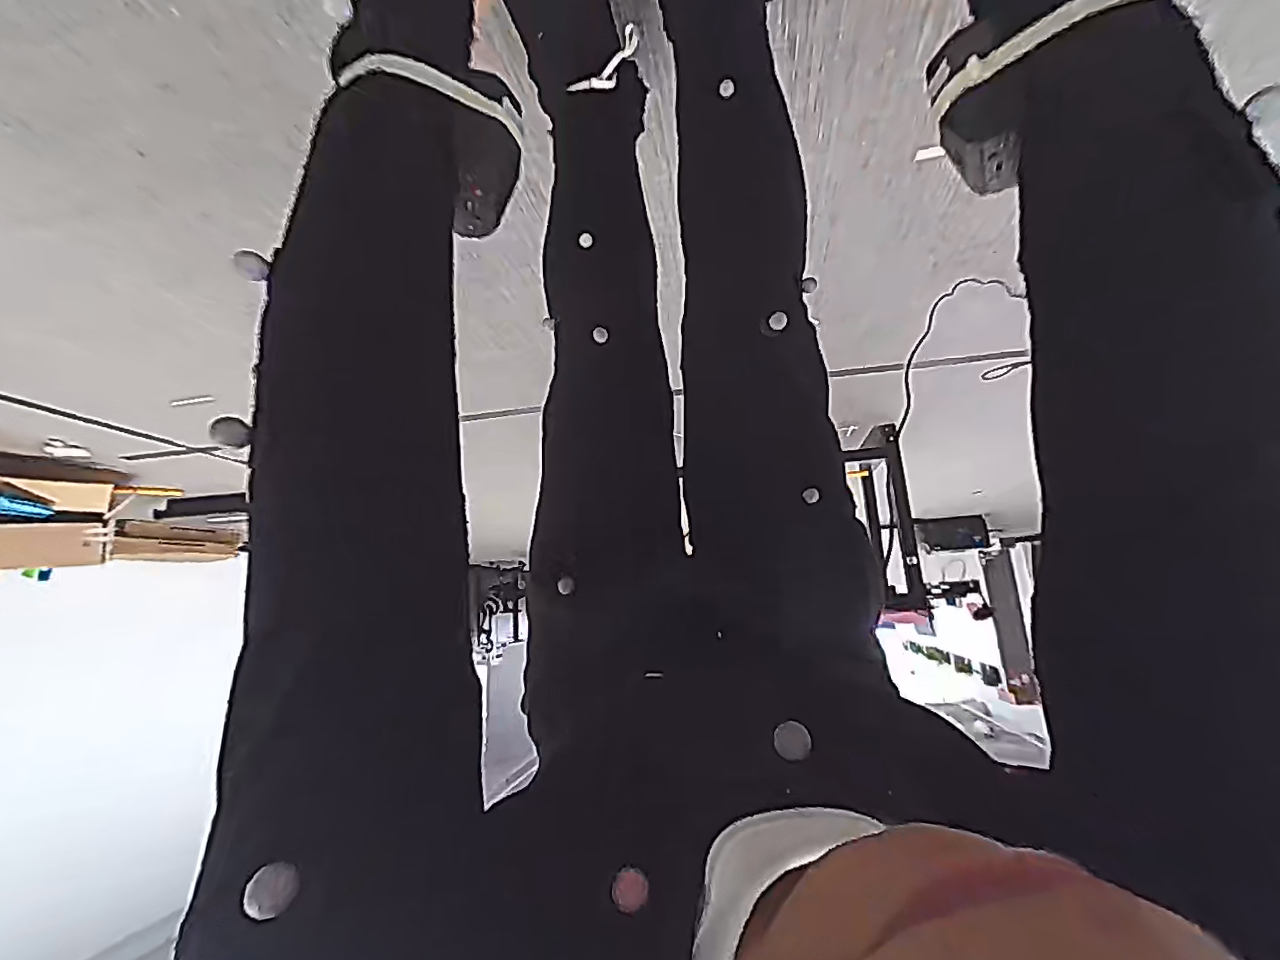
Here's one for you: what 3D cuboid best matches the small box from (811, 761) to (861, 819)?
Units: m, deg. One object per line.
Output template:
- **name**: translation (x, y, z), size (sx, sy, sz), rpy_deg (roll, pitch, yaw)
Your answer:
- **small box**: translation (0.810, 1.281, 2.243), size (0.168, 0.176, 0.179), rpy_deg (-6, 167, 12)
